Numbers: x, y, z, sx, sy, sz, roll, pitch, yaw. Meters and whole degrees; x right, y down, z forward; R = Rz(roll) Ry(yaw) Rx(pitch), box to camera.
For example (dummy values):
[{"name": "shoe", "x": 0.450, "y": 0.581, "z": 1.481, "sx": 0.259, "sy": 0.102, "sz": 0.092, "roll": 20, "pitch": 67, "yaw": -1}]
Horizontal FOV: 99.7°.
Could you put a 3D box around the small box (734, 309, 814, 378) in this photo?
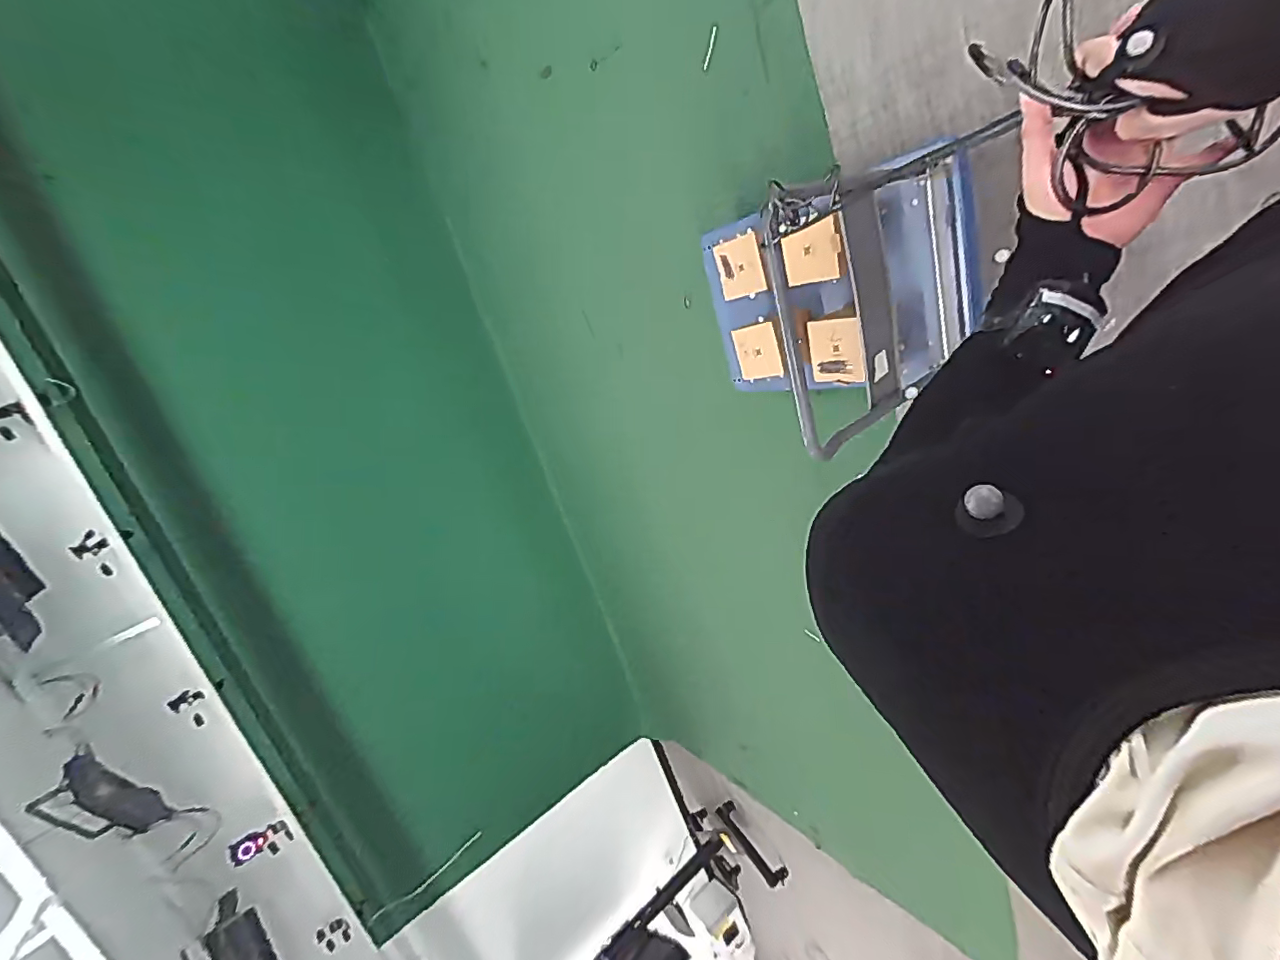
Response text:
[{"name": "small box", "x": 0.435, "y": -0.437, "z": 1.729, "sx": 0.179, "sy": 0.176, "sz": 0.168, "roll": 6, "pitch": 118, "yaw": 56}]

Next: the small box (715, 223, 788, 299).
[{"name": "small box", "x": 0.363, "y": -0.669, "z": 1.649, "sx": 0.179, "sy": 0.176, "sz": 0.168, "roll": 7, "pitch": 121, "yaw": 55}]

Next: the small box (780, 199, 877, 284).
[{"name": "small box", "x": 0.507, "y": -0.637, "z": 1.451, "sx": 0.179, "sy": 0.176, "sz": 0.168, "roll": 13, "pitch": 125, "yaw": 53}]
